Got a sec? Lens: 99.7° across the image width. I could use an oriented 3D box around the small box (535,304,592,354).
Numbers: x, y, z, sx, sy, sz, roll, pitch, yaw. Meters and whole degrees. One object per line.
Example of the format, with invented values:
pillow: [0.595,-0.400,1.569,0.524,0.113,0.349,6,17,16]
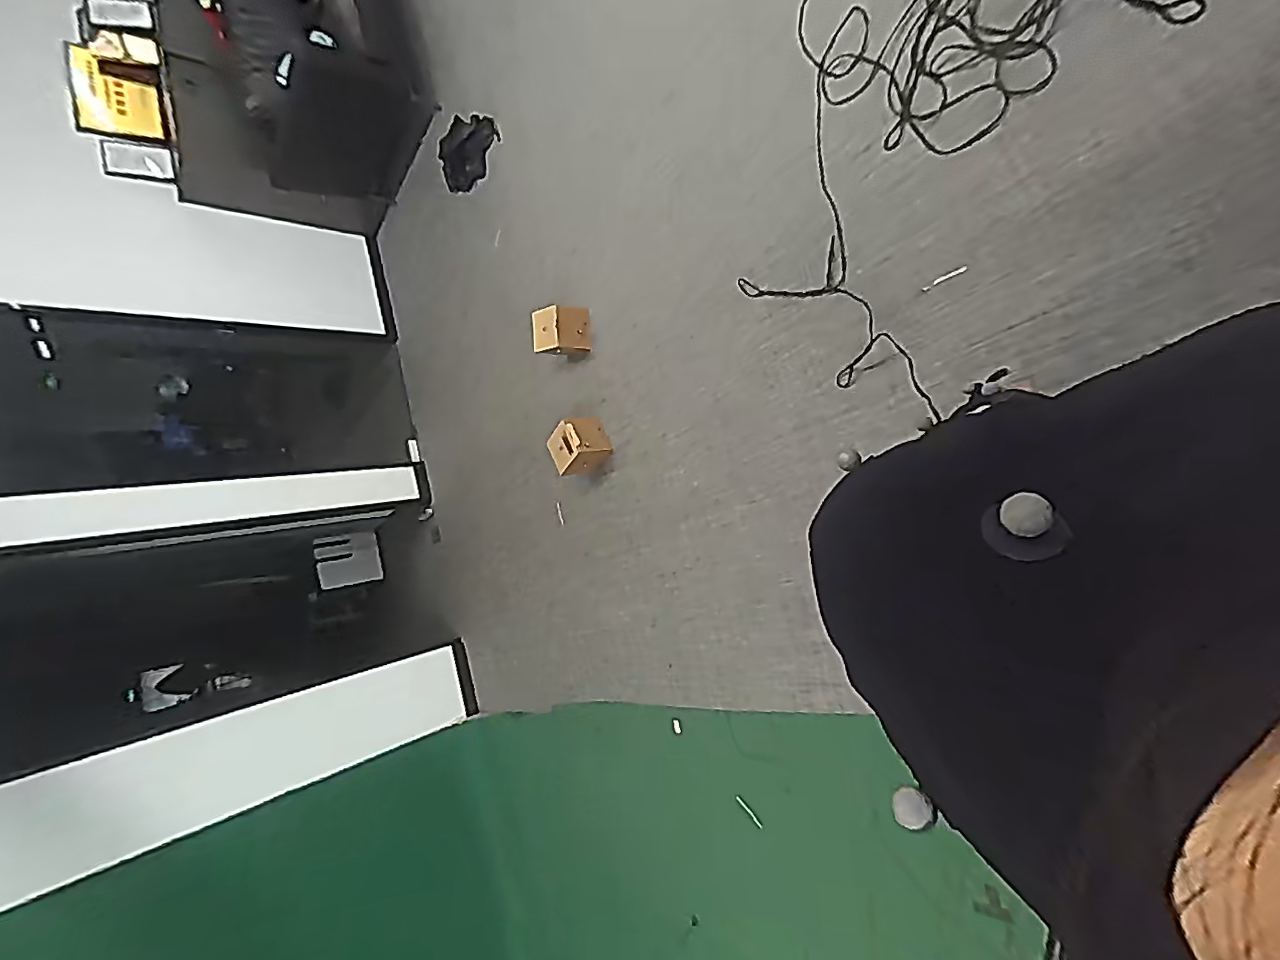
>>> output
small box: [-0.315,-0.618,2.232,0.179,0.176,0.168,3,97,47]
